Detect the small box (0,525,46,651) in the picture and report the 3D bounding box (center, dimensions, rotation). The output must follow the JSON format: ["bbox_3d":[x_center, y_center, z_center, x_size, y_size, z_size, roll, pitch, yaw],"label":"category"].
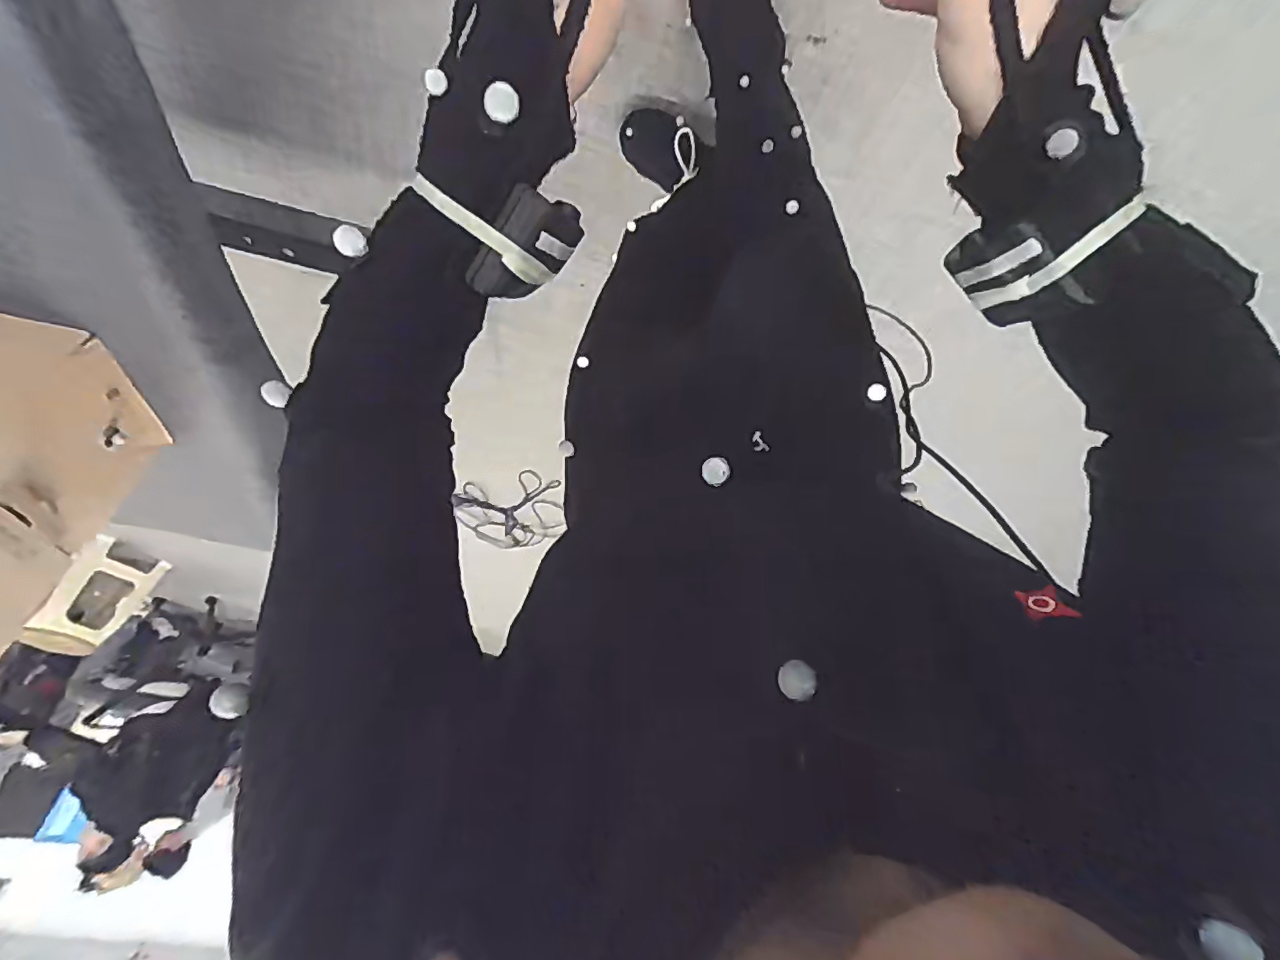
[{"bbox_3d":[-0.631,0.089,0.410,0.179,0.176,0.168,9,143,-7],"label":"small box"}]

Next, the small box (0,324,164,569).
[{"bbox_3d":[-0.624,-0.039,0.511,0.179,0.176,0.168,10,143,-7],"label":"small box"}]
